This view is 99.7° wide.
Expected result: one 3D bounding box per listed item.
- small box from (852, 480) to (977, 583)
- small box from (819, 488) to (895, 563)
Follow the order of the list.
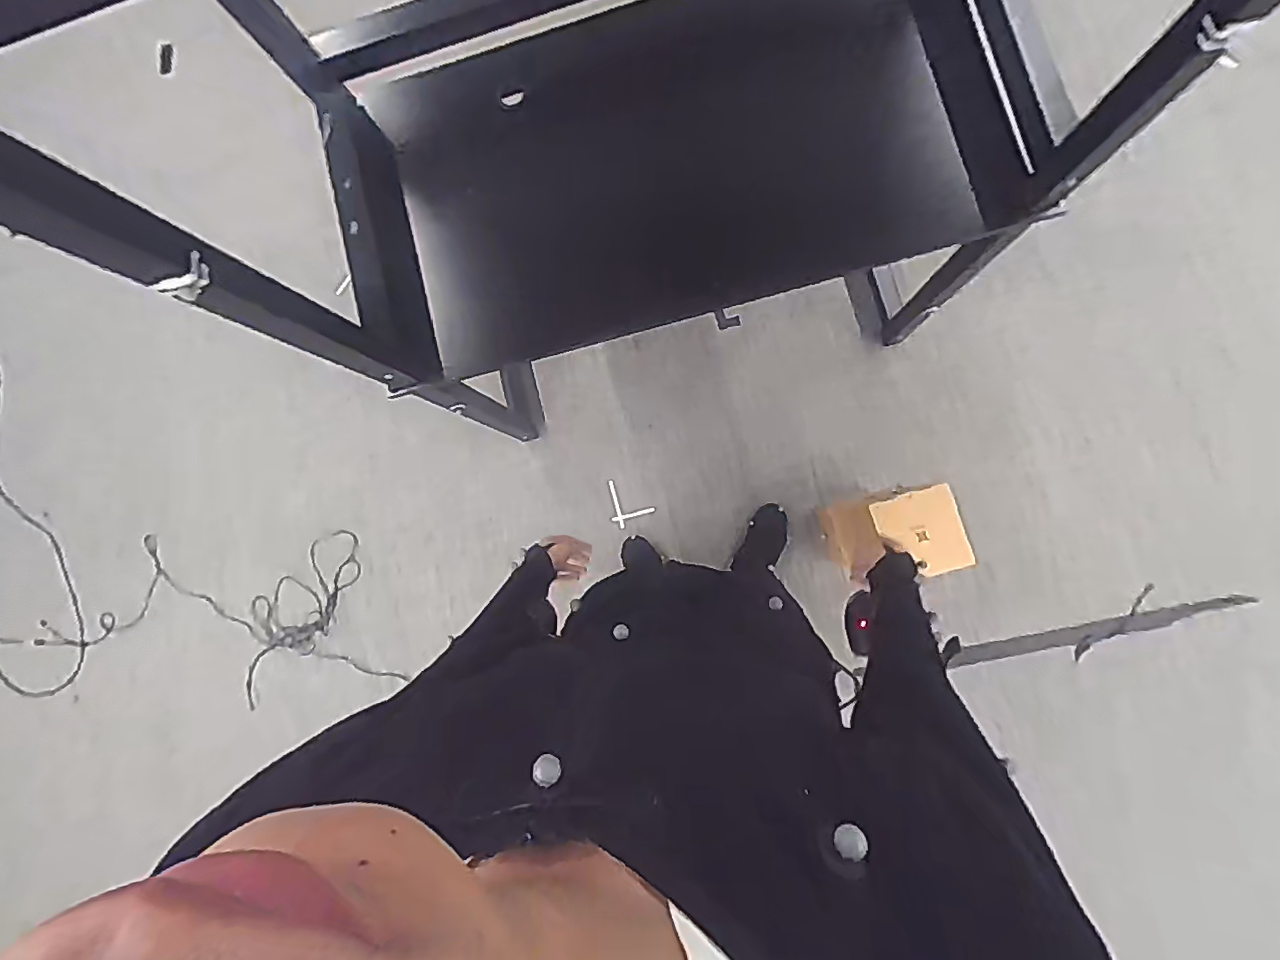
[{"bbox_3d":[0.583,0.108,1.170,0.168,0.176,0.179,-18,84,6],"label":"small box"},{"bbox_3d":[0.616,0.124,1.495,0.179,0.176,0.168,-16,84,6],"label":"small box"}]
